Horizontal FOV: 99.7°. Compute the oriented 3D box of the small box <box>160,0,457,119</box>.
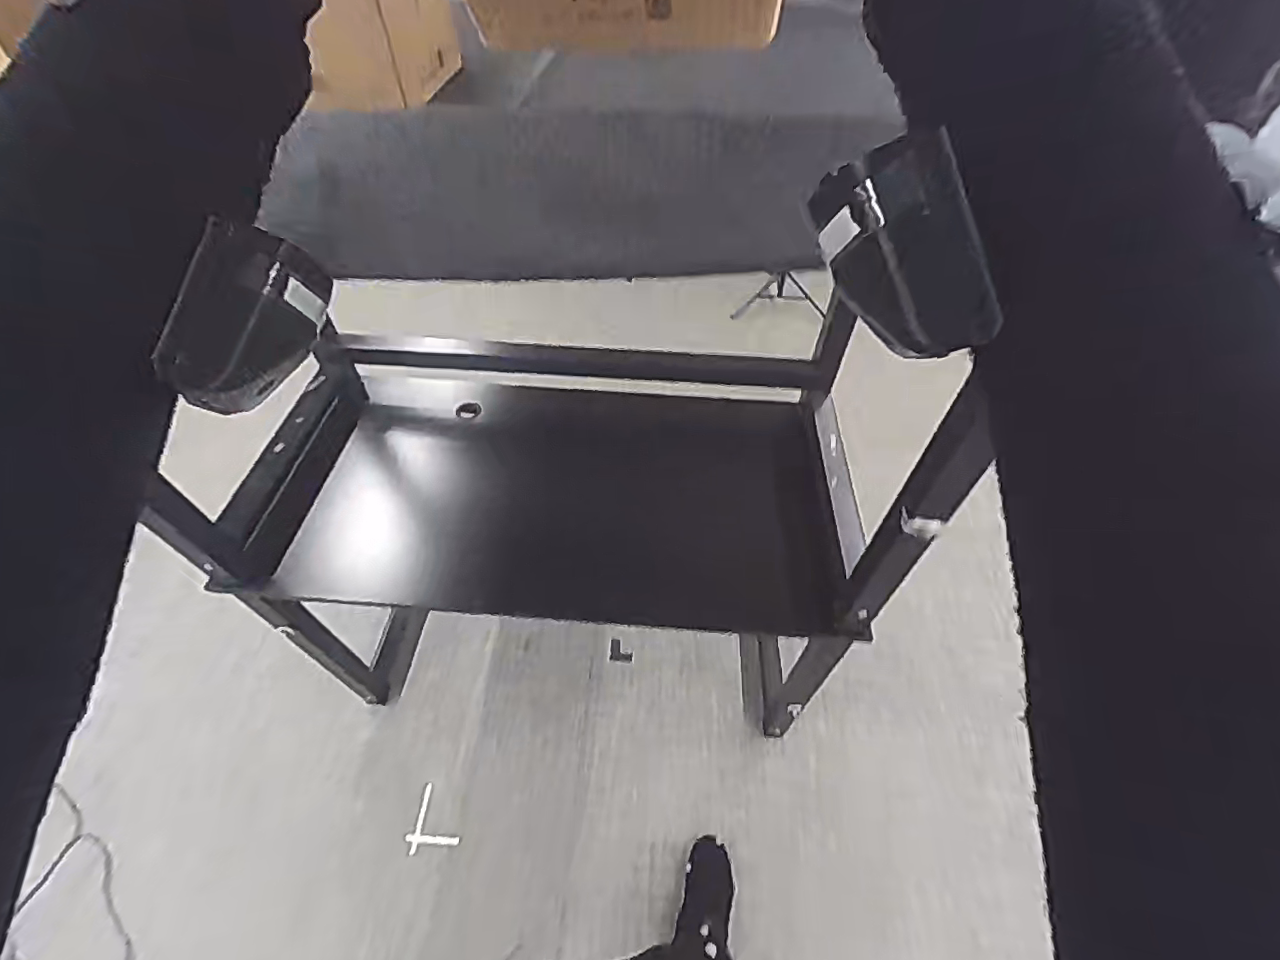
[{"bbox_3d":[-0.271,-0.421,0.449,0.179,0.176,0.168,3,50,2],"label":"small box"}]
